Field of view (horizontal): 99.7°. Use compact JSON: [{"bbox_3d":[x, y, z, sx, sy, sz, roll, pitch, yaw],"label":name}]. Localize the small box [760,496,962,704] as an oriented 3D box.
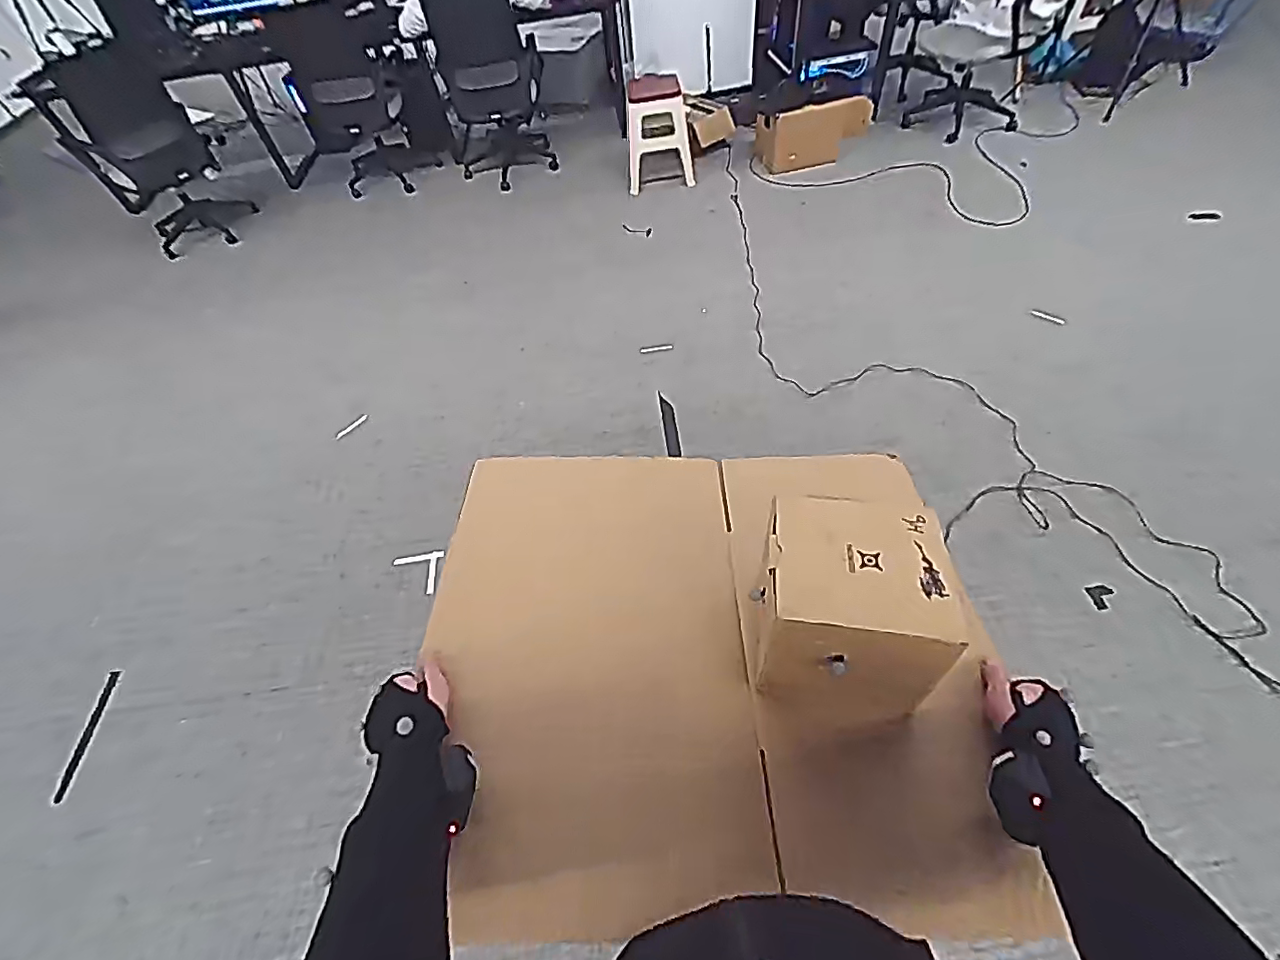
[{"bbox_3d":[0.233,0.139,0.622,0.179,0.176,0.168,4,47,9],"label":"small box"}]
